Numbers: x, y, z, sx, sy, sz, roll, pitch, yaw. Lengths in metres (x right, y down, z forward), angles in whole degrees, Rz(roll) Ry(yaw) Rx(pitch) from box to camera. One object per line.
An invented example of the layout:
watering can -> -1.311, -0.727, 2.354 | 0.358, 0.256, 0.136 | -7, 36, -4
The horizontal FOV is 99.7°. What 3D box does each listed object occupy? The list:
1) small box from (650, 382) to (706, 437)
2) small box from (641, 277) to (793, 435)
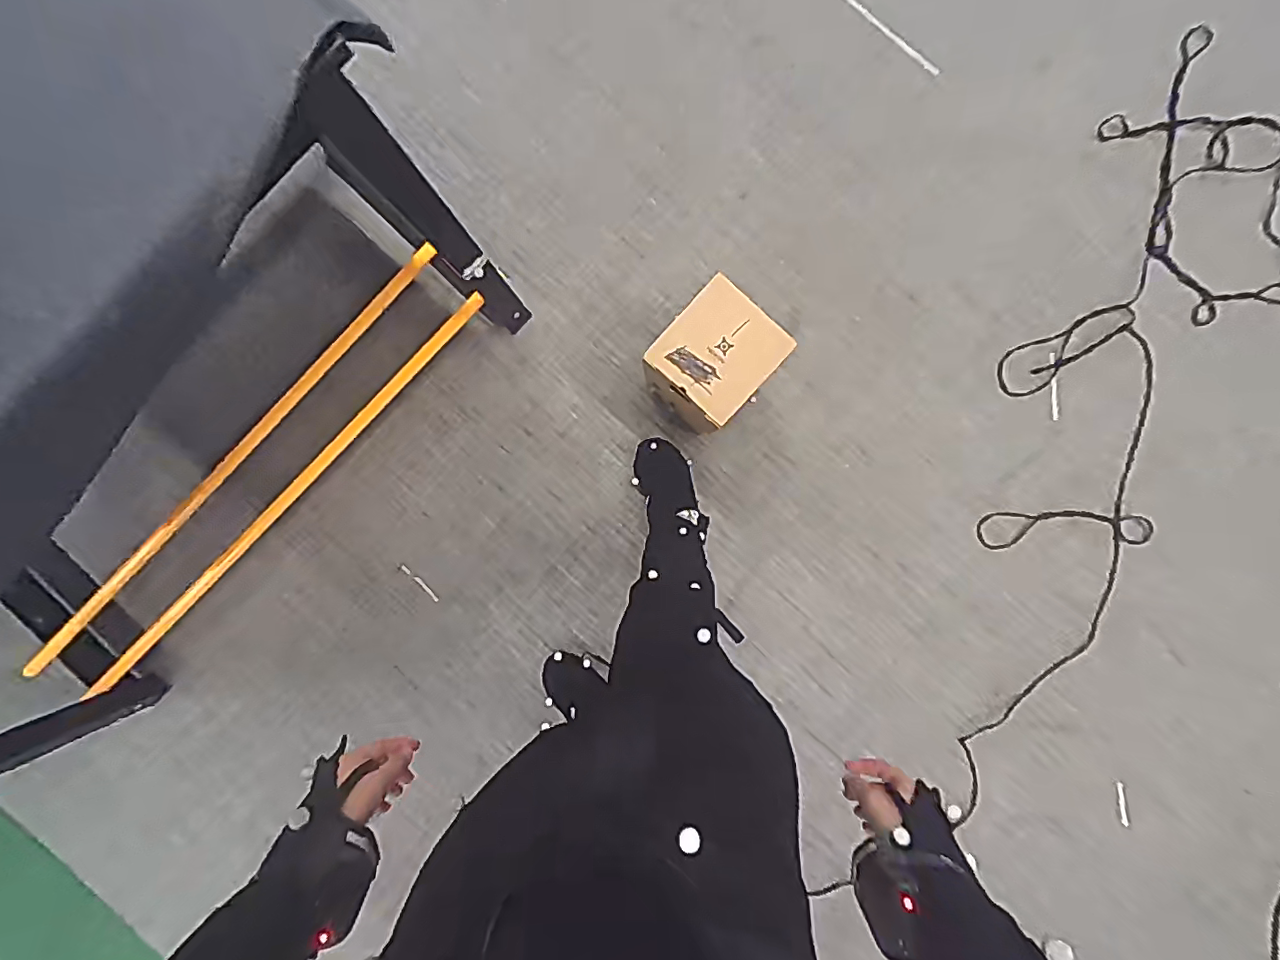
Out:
small box -> 0.130, -0.204, 1.066 | 0.168, 0.176, 0.179 | 45, 90, 2
small box -> 0.121, -0.193, 0.903 | 0.168, 0.176, 0.179 | 43, 90, 1
